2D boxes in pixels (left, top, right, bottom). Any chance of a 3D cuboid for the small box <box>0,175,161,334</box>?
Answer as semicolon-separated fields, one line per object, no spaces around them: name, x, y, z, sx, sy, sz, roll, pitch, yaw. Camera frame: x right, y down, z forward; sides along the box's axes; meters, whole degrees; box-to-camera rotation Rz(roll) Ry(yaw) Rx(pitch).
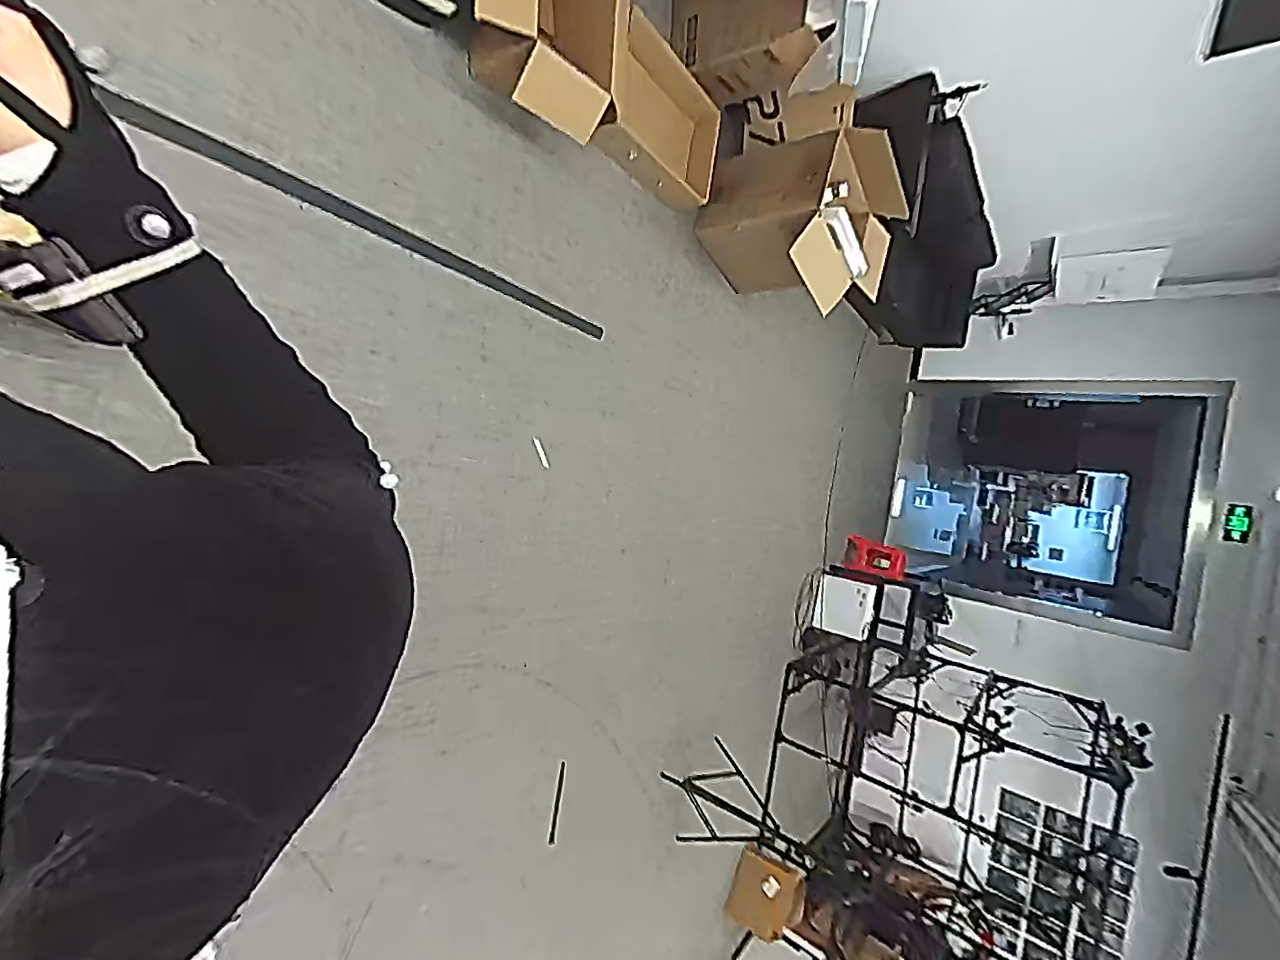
small box;-0.915;-0.347;0.873;0.168;0.176;0.179;12;88;-52
